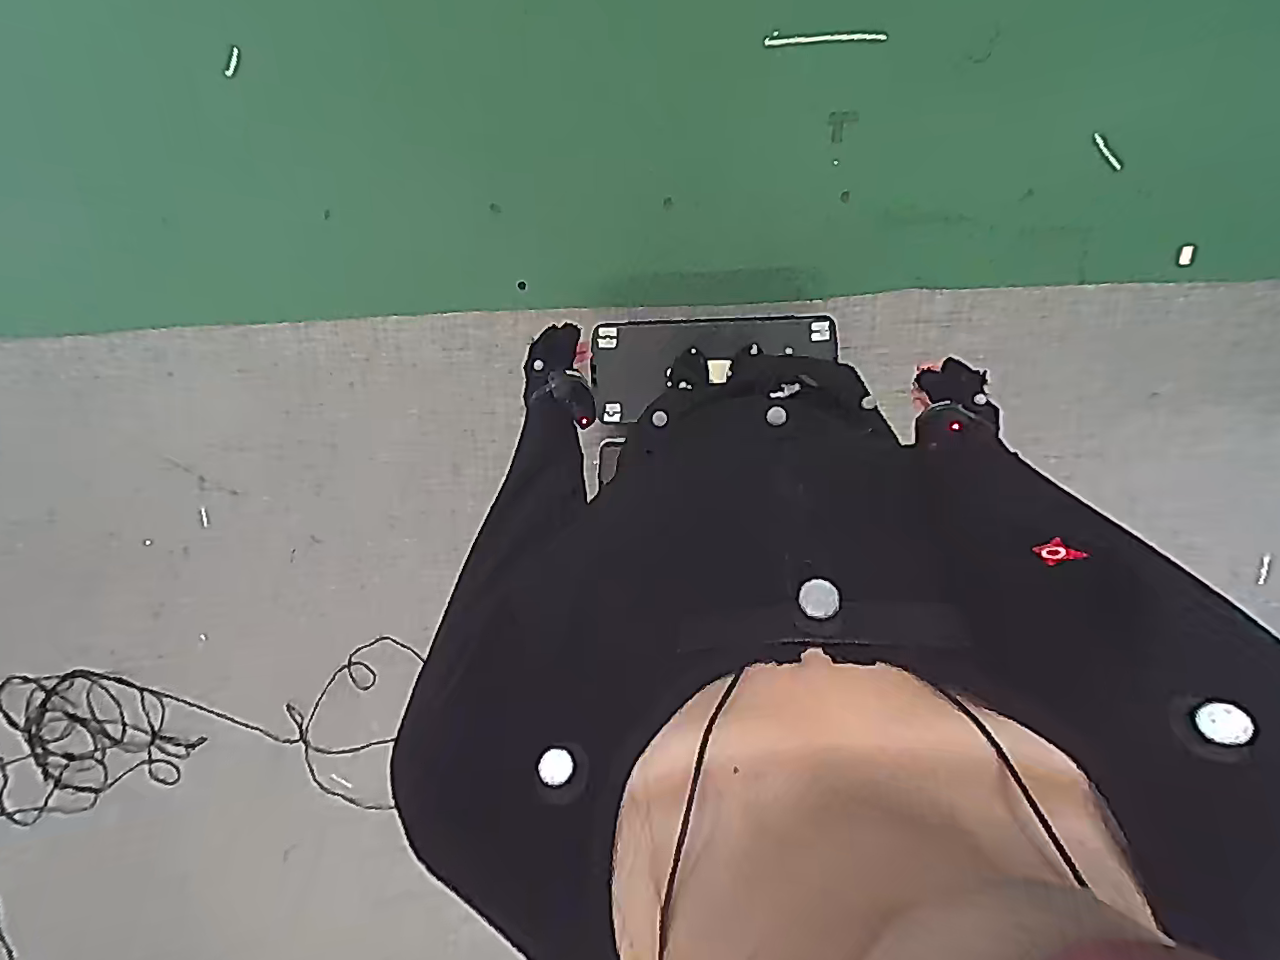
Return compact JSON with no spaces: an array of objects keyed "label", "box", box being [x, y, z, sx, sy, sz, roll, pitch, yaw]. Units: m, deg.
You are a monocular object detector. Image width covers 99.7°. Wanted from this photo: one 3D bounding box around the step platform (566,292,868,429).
[{"label":"step platform","box":[0.175,-0.290,1.322,0.684,0.204,0.286,-2,104,3]}]
